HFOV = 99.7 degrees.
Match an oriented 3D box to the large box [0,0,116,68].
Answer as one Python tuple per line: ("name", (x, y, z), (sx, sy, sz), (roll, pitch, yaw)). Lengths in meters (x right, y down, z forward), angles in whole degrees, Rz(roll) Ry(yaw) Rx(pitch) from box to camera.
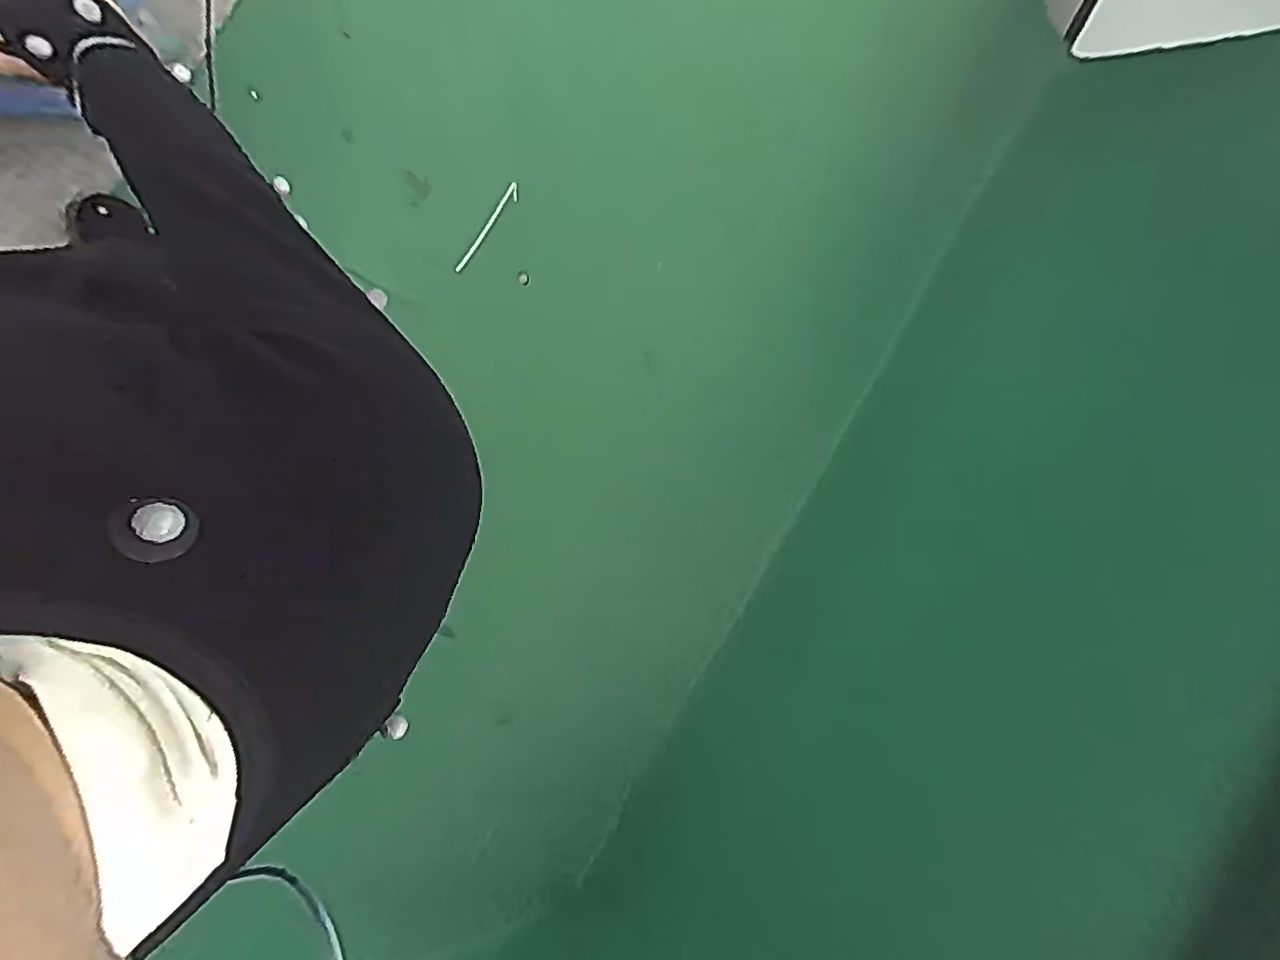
("large box", (-0.952, -0.791, 0.669), (0.320, 0.320, 0.408), (-25, 124, -34))
